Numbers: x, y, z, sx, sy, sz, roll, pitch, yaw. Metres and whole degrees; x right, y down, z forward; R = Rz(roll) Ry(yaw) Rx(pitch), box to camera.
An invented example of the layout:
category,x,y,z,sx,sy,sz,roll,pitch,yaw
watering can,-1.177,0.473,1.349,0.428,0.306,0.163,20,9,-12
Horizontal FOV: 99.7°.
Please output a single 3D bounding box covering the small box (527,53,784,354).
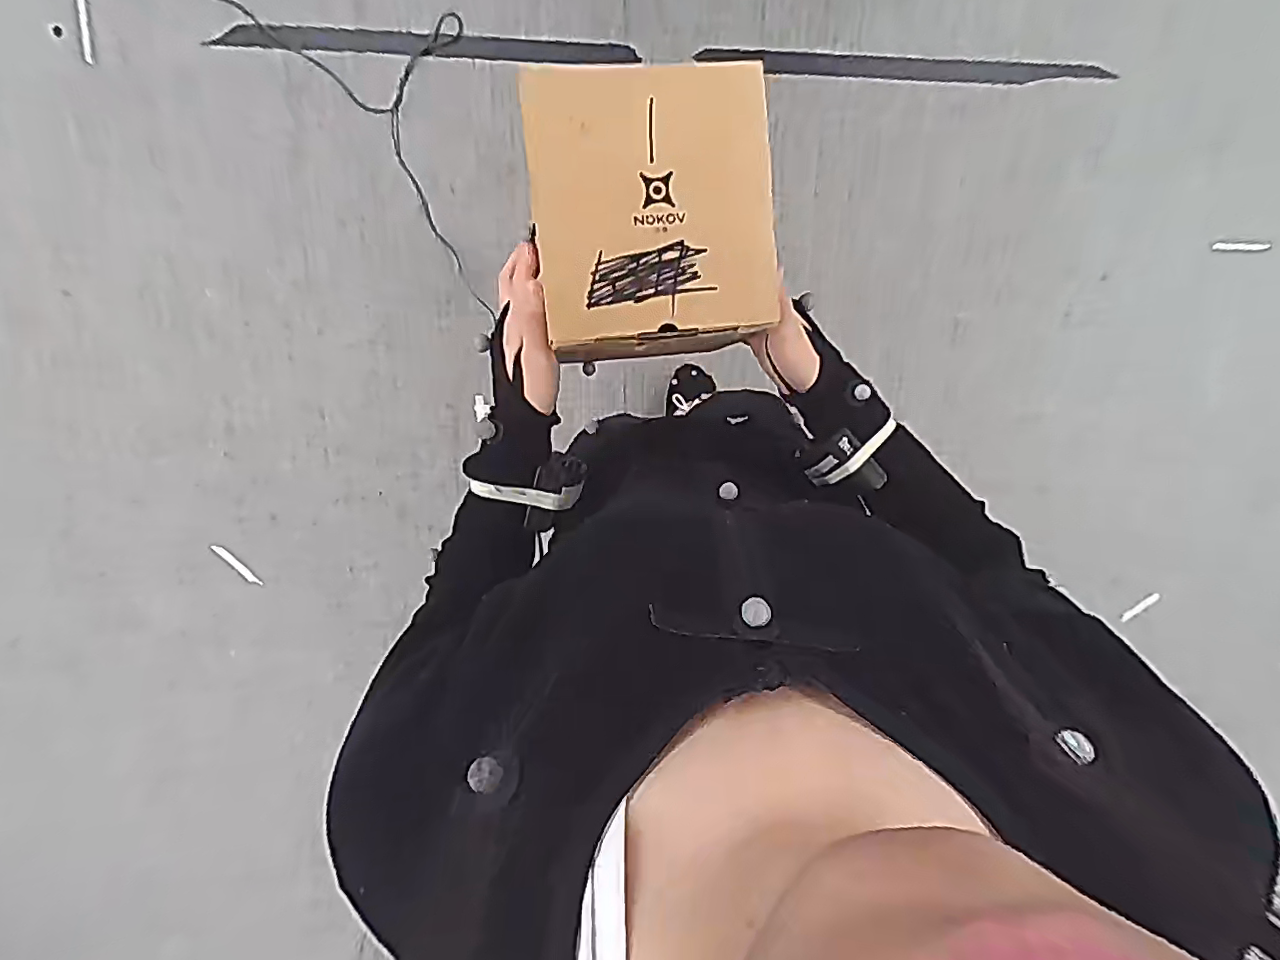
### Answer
category,x,y,z,sx,sy,sz,roll,pitch,yaw
small box,0.005,-0.201,0.442,0.168,0.176,0.179,-6,97,-7
